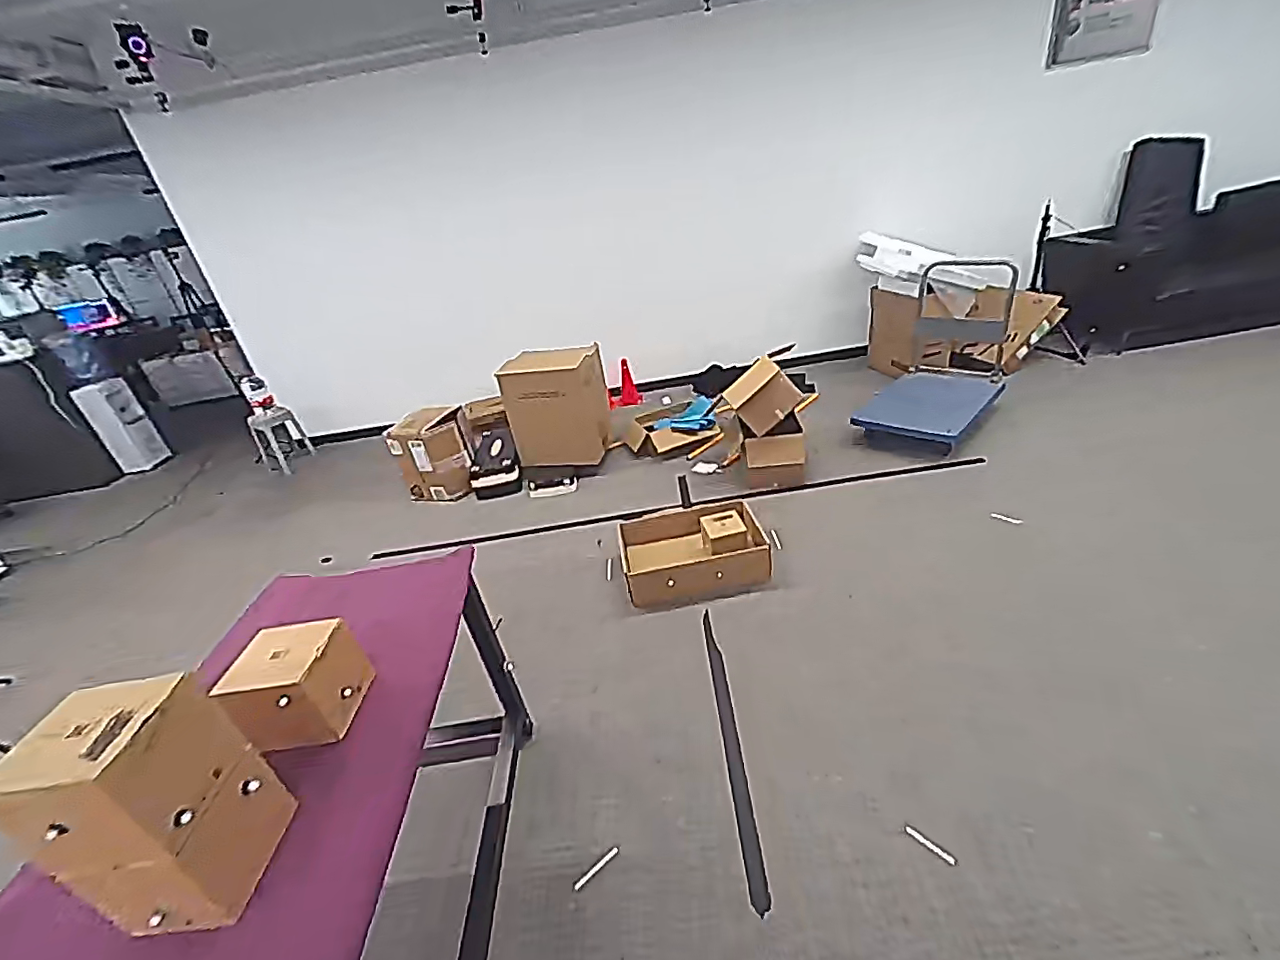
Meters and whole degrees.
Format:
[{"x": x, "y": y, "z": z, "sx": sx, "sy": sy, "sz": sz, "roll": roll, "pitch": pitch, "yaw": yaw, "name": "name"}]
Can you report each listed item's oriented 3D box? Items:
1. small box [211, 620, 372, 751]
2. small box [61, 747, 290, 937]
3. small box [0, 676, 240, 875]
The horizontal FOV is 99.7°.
[{"x": -0.670, "y": 0.406, "z": 1.064, "sx": 0.179, "sy": 0.176, "sz": 0.168, "roll": -9, "pitch": 29, "yaw": 3, "name": "small box"}, {"x": -0.674, "y": 0.542, "z": 0.817, "sx": 0.168, "sy": 0.176, "sz": 0.179, "roll": -9, "pitch": 28, "yaw": 3, "name": "small box"}, {"x": -0.708, "y": 0.401, "z": 0.739, "sx": 0.179, "sy": 0.176, "sz": 0.168, "roll": -10, "pitch": 28, "yaw": 2, "name": "small box"}]
